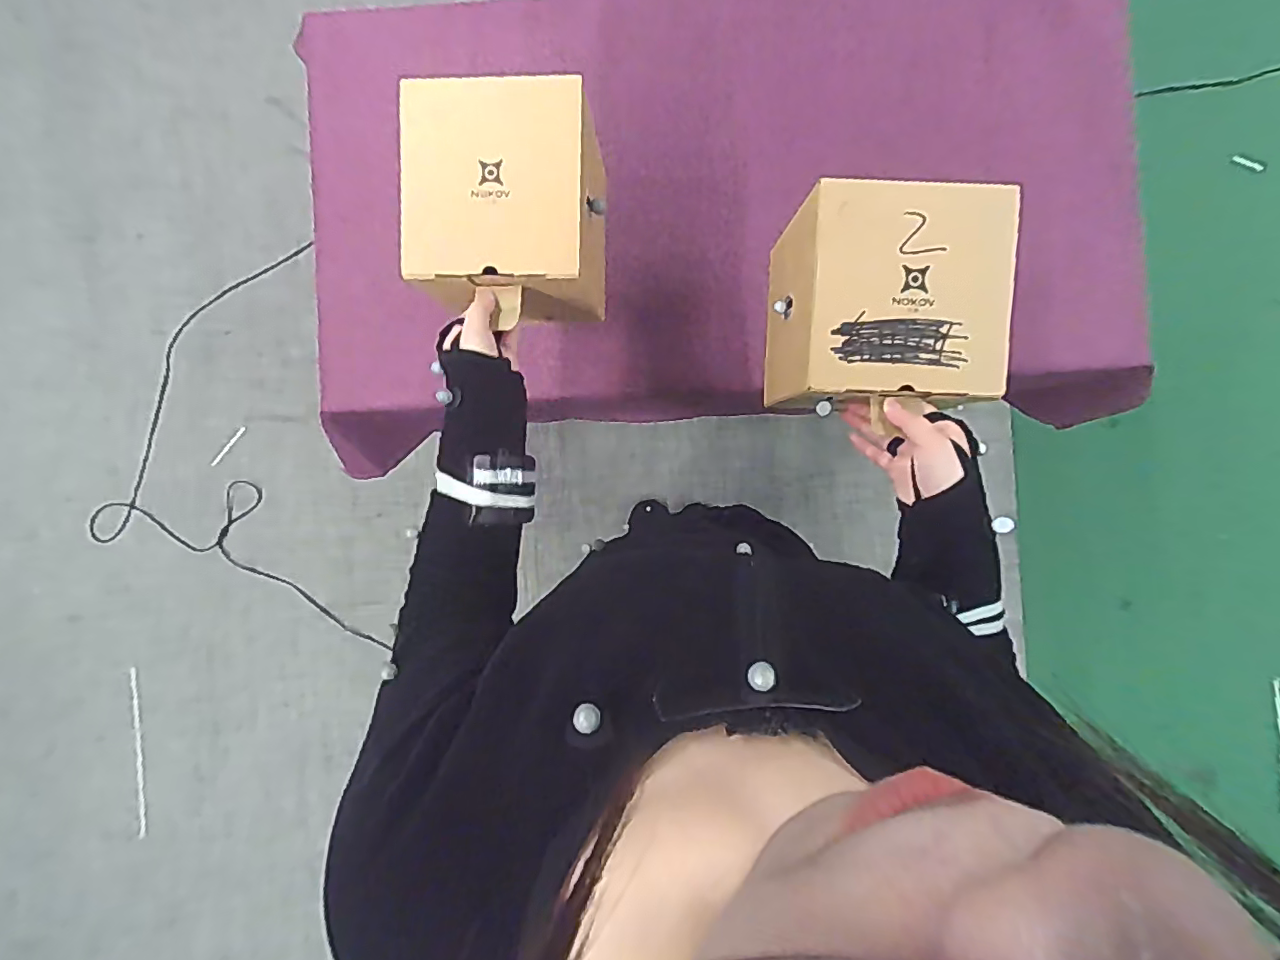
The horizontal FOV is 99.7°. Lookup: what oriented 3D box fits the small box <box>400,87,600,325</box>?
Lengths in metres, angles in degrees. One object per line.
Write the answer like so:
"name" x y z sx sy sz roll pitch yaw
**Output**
"small box" -0.135 -0.273 0.574 0.168 0.176 0.179 1 94 3
